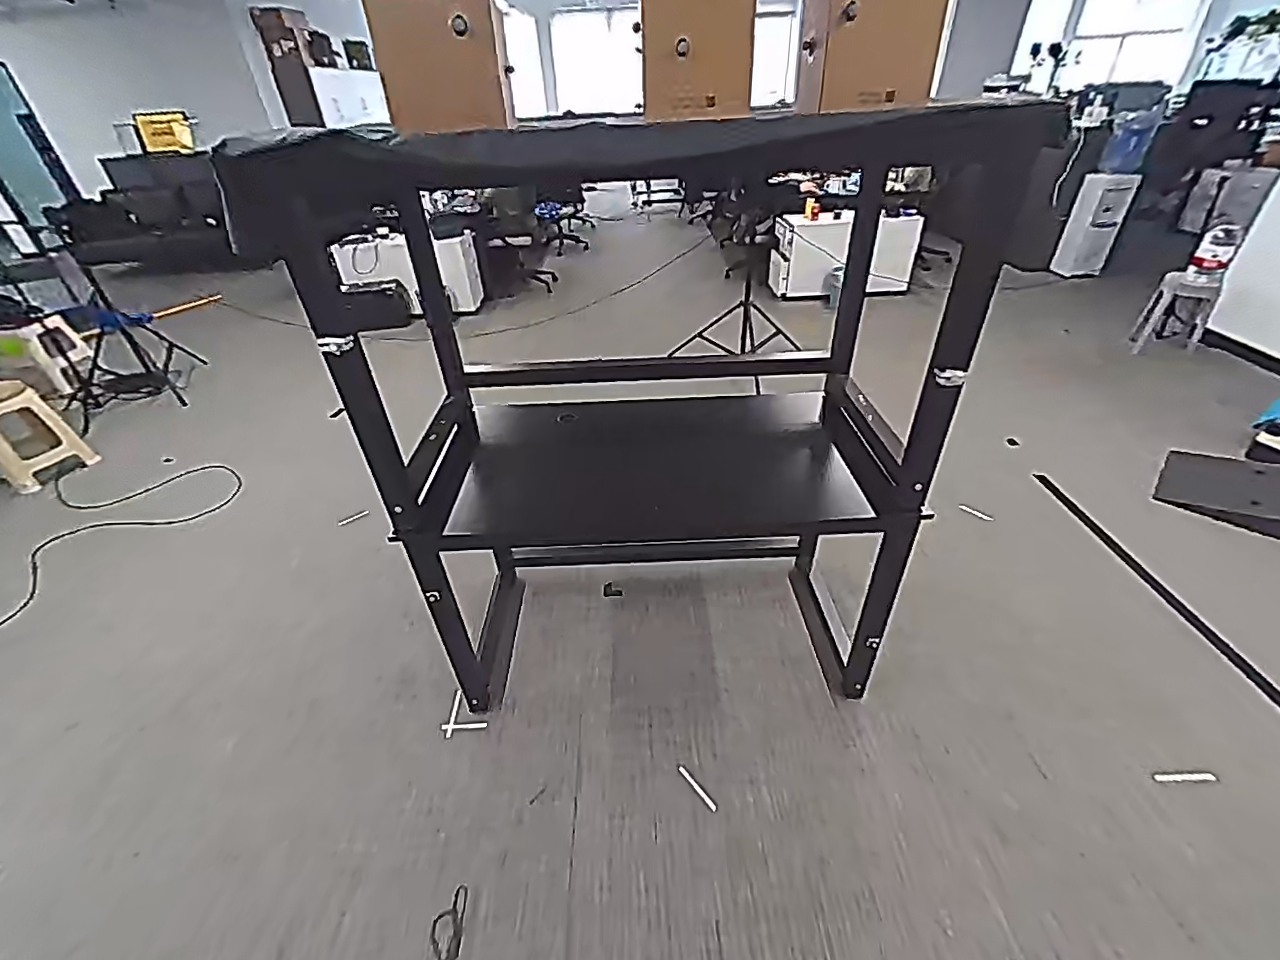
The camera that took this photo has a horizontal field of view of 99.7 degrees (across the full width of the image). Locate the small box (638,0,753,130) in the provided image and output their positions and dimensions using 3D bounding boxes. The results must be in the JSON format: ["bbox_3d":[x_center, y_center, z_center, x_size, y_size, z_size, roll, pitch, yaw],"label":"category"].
[{"bbox_3d":[0.087,-0.664,0.861,0.168,0.176,0.179,-1,34,3],"label":"small box"}]

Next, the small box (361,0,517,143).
[{"bbox_3d":[-0.295,-0.635,0.845,0.179,0.176,0.168,-5,34,-3],"label":"small box"}]
